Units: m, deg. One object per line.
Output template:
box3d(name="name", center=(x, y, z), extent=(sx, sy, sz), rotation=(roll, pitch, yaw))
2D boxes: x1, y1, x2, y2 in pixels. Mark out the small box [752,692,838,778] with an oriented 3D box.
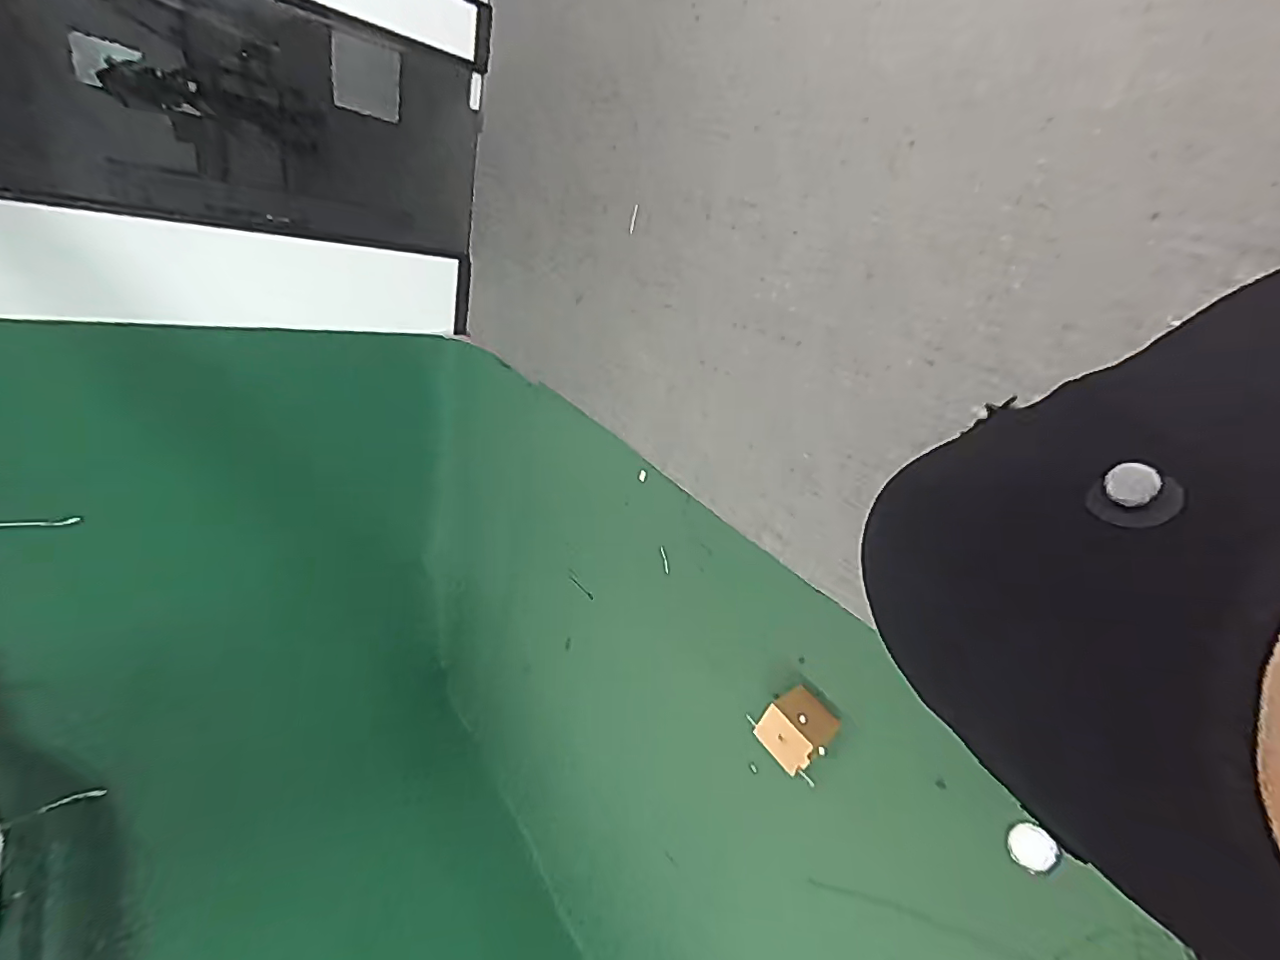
box3d(name="small box", center=(0.510, 0.826, 1.779), extent=(0.179, 0.176, 0.168), rotation=(43, 126, 36))
